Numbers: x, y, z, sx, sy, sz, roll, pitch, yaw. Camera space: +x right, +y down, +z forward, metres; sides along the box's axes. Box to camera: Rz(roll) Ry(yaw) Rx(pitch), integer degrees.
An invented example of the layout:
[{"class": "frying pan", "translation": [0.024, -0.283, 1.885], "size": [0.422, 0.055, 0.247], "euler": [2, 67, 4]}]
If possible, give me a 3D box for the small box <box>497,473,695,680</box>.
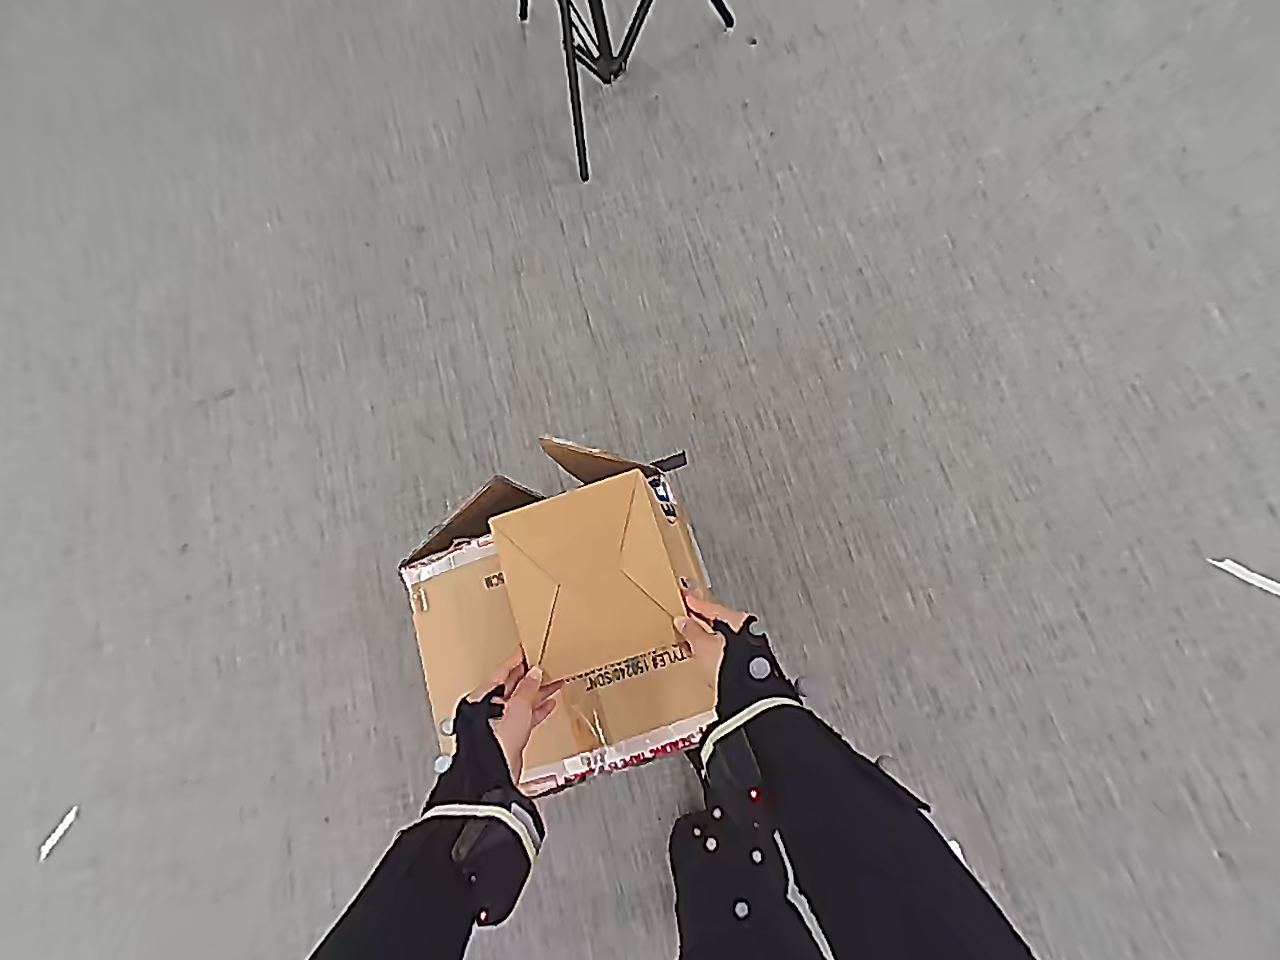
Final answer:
[{"class": "small box", "translation": [-0.044, 0.107, 0.614], "size": [0.168, 0.176, 0.179], "euler": [-19, 80, 2]}]
